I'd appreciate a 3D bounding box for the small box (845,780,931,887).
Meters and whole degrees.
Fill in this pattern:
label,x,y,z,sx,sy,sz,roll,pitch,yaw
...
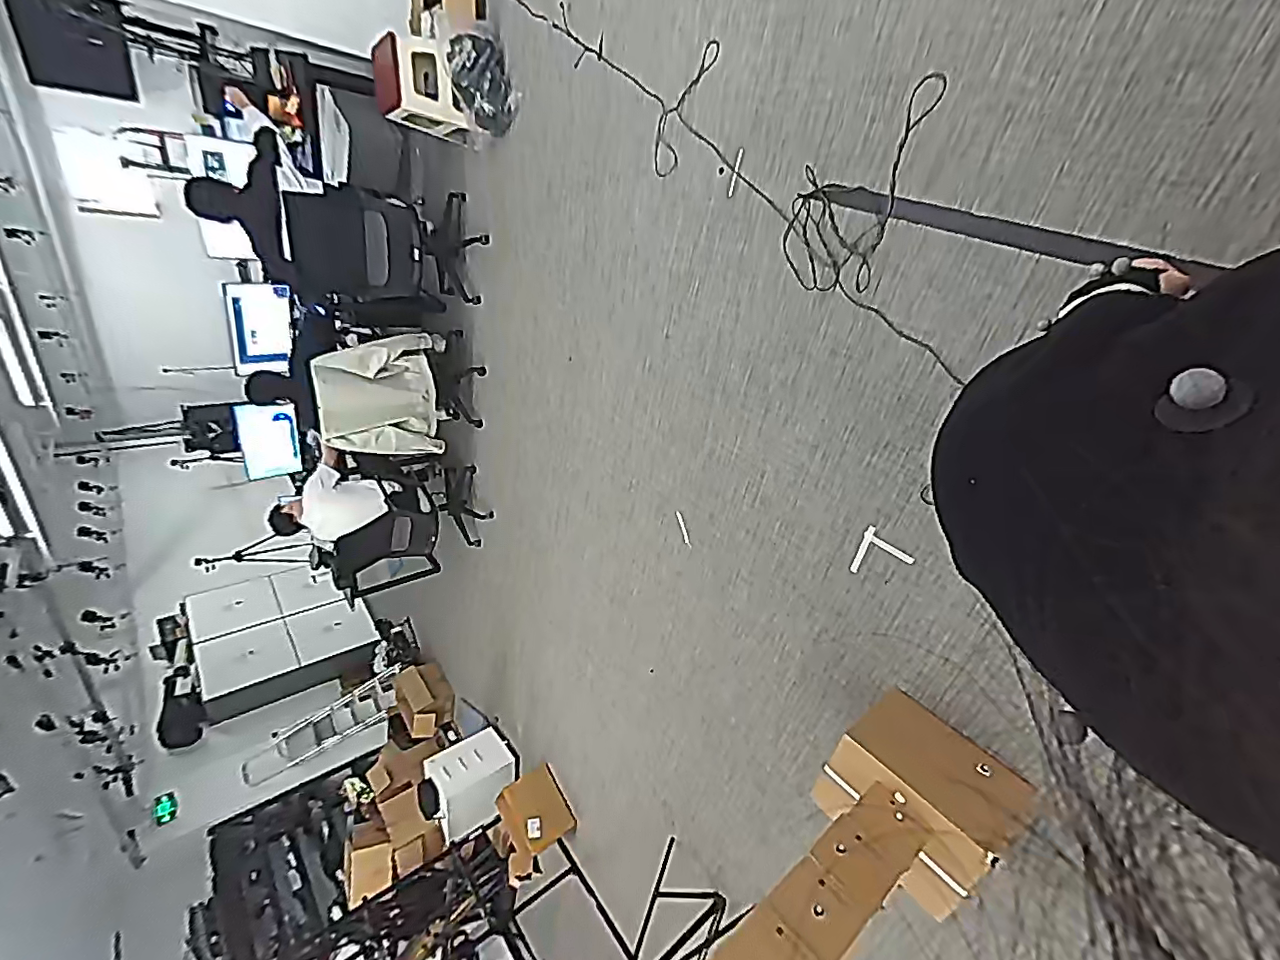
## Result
label,x,y,z,sx,sy,sz,roll,pitch,yaw
small box,0.612,0.923,1.386,0.168,0.176,0.179,35,125,39

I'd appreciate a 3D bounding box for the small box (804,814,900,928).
label,x,y,z,sx,sy,sz,roll,pitch,yaw
small box,0.488,0.948,1.284,0.168,0.176,0.179,34,127,40

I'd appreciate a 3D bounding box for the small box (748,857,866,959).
label,x,y,z,sx,sy,sz,roll,pitch,yaw
small box,0.365,0.984,1.180,0.168,0.176,0.179,30,123,43
